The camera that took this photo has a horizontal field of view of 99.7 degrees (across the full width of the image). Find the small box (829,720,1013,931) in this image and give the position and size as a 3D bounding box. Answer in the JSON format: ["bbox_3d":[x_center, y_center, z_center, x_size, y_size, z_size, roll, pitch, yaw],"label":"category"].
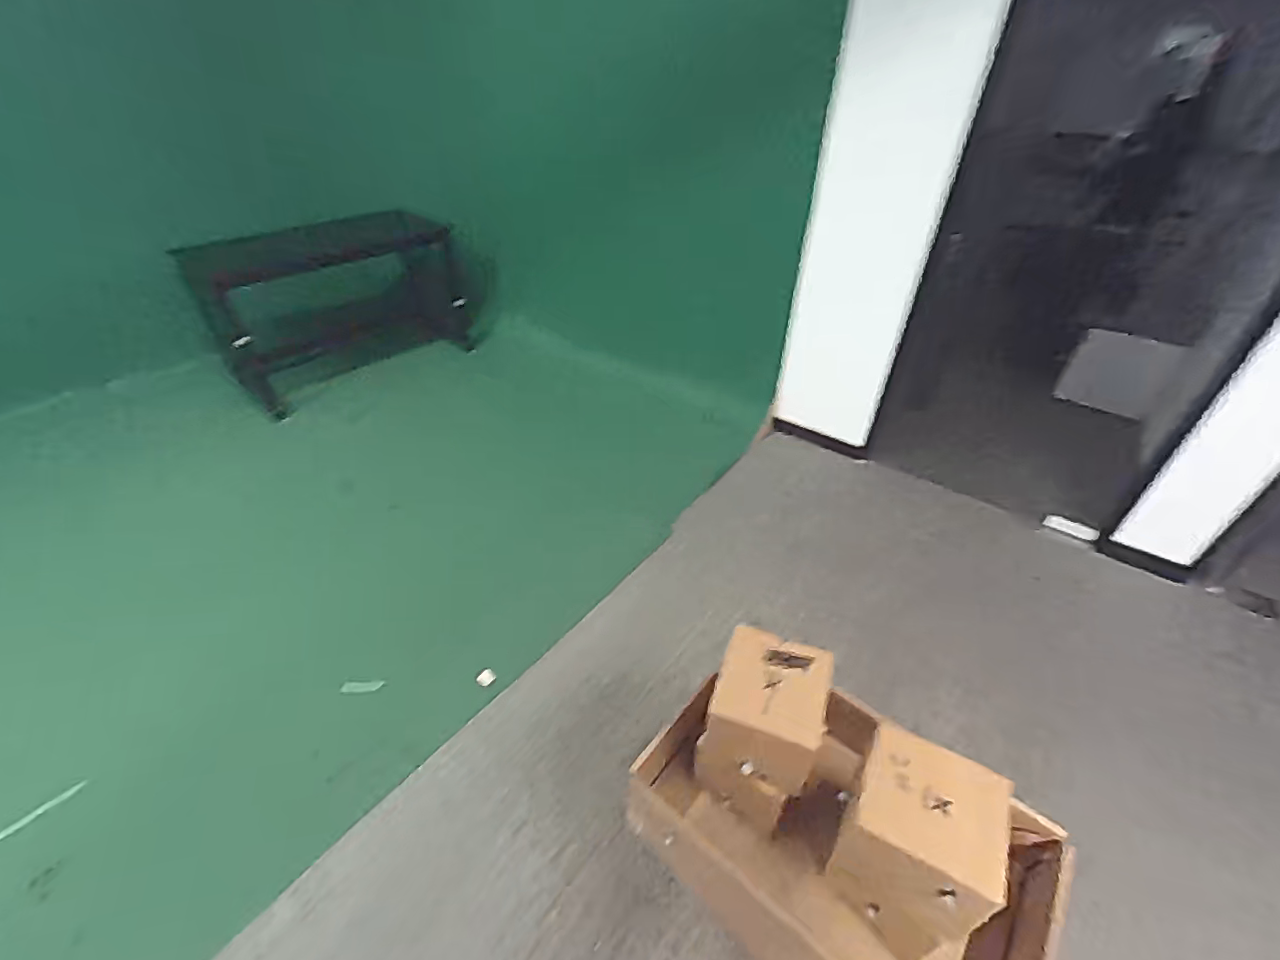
[{"bbox_3d":[0.391,0.490,0.766,0.179,0.176,0.168,21,41,25],"label":"small box"}]

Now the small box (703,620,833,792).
[{"bbox_3d":[0.210,0.376,0.906,0.168,0.176,0.179,15,41,19],"label":"small box"}]

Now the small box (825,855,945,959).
[{"bbox_3d":[0.421,0.618,0.872,0.179,0.176,0.168,-27,46,-30],"label":"small box"}]
